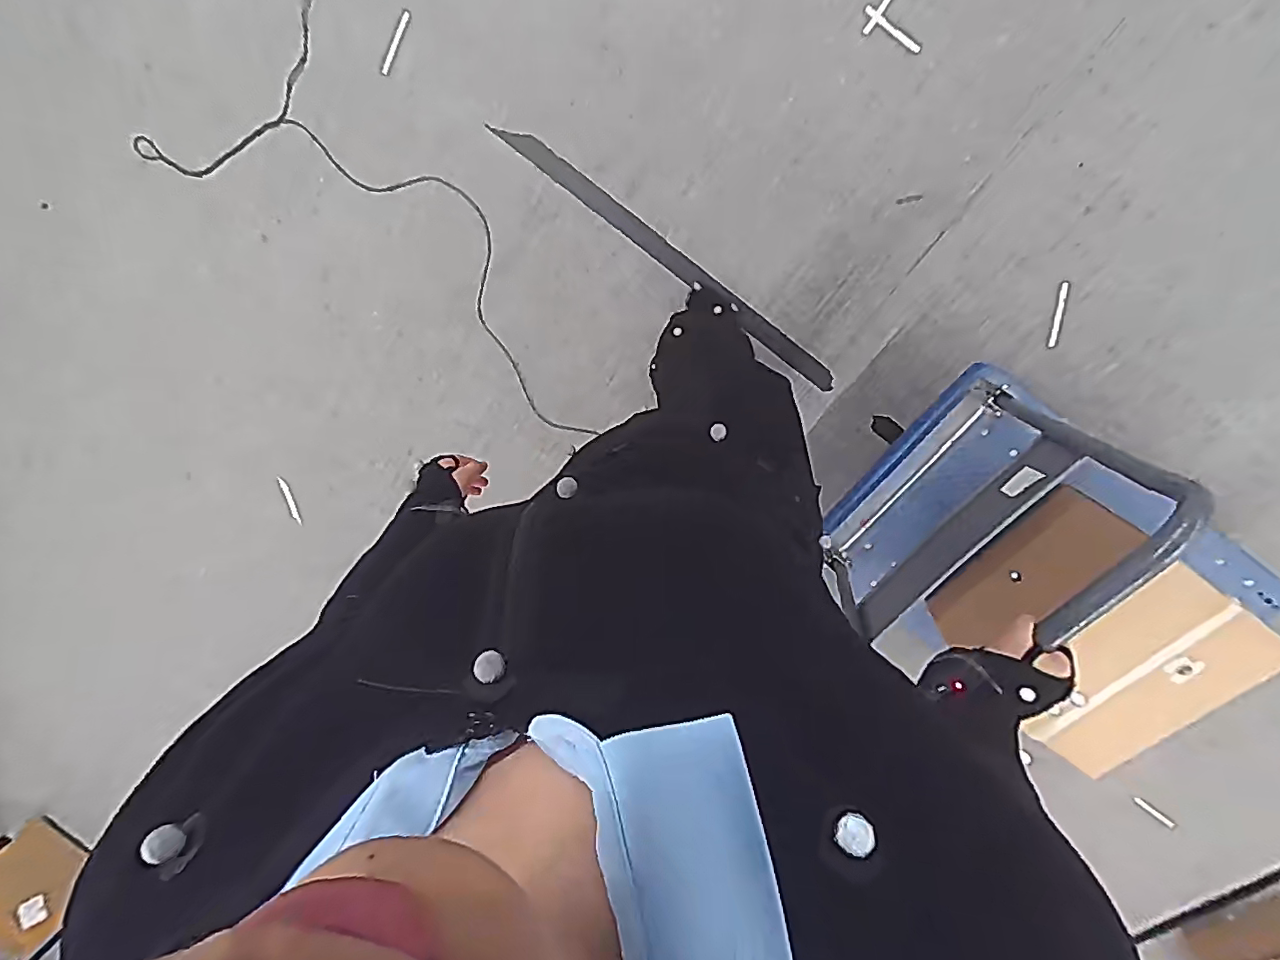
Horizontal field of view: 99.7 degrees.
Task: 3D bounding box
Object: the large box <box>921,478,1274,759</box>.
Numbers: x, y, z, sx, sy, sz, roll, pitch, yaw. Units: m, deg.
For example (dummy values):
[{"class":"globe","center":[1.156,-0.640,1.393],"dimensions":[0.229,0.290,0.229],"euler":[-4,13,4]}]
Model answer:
[{"class":"large box","center":[0.891,0.274,1.133],"dimensions":[0.320,0.320,0.408],"euler":[35,112,-4]}]
